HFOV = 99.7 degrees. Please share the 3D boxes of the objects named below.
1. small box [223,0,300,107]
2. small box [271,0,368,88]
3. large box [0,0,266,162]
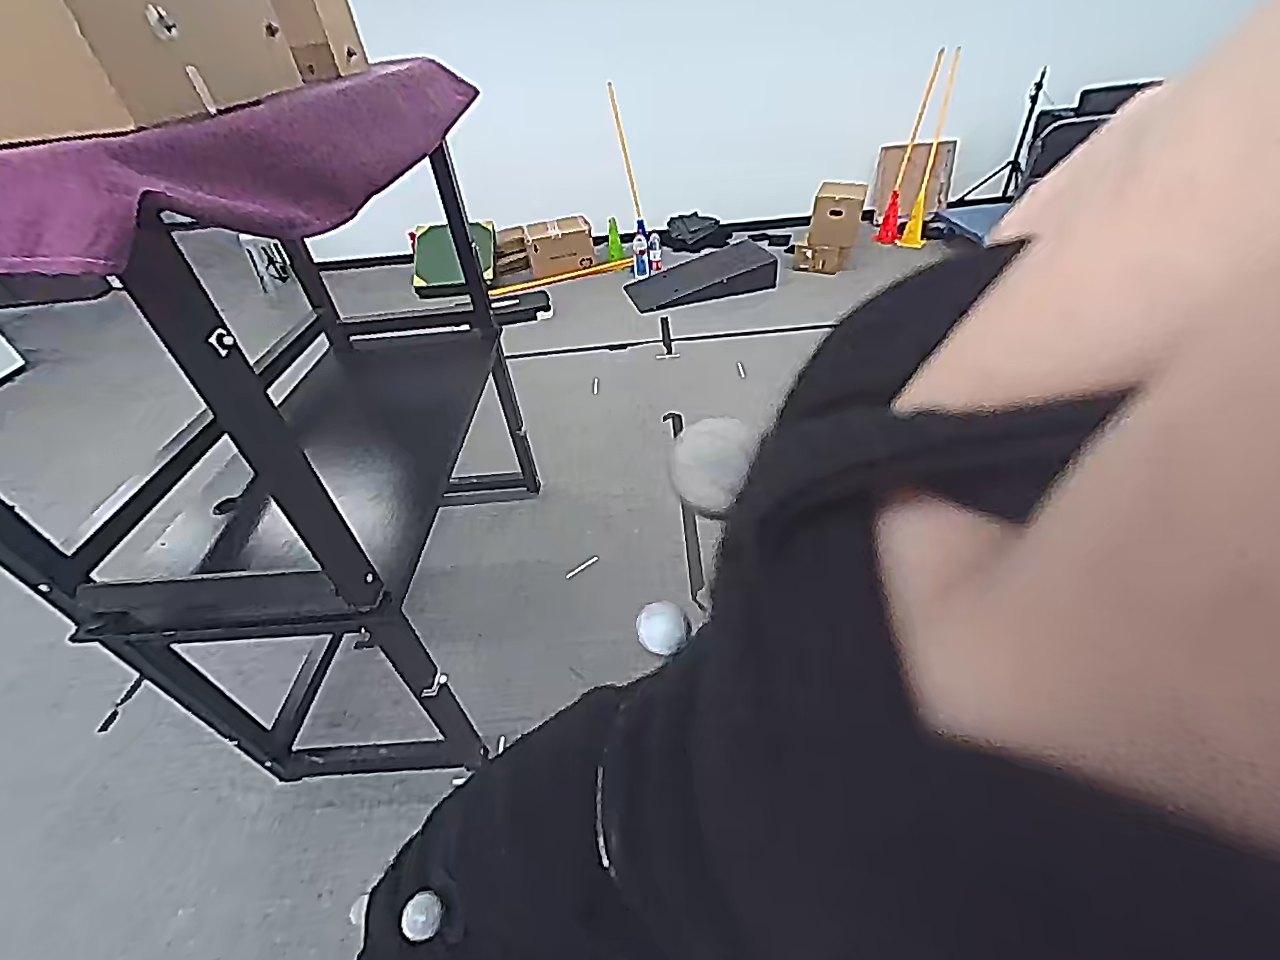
[{"bbox_3d":[-0.735,-0.755,0.941,0.168,0.176,0.179,-5,41,3],"label":"small box"},{"bbox_3d":[-0.741,-0.989,1.209,0.168,0.176,0.179,-4,40,4],"label":"small box"},{"bbox_3d":[-0.764,-0.567,0.623,0.408,0.320,0.320,-7,40,1],"label":"large box"}]
